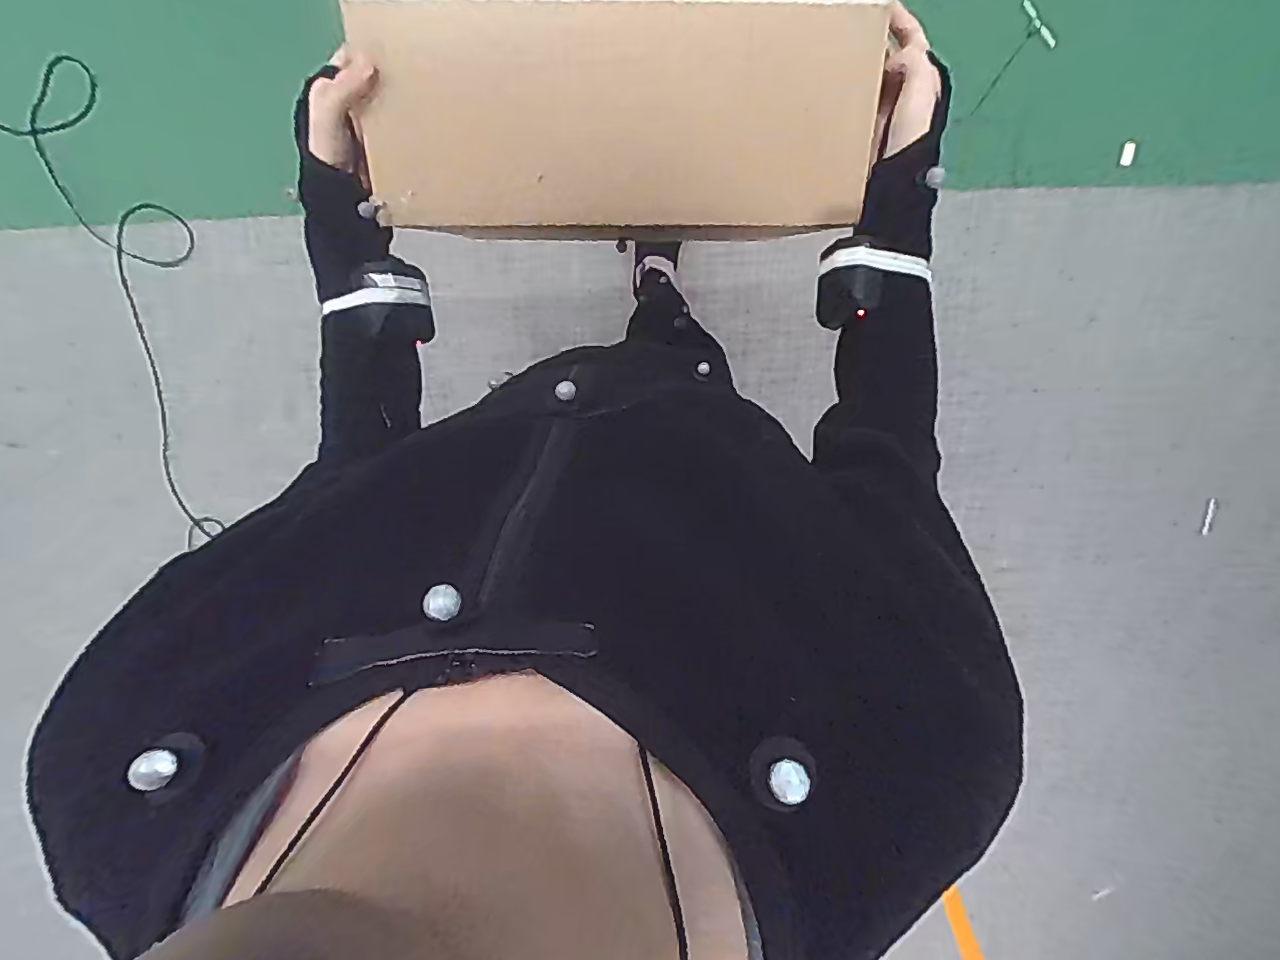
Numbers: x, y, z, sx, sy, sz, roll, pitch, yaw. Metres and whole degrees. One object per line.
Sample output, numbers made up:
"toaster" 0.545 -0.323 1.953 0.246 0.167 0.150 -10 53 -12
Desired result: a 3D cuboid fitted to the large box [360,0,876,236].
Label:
"large box" -0.017 -0.424 0.549 0.408 0.320 0.320 -1 111 -1
